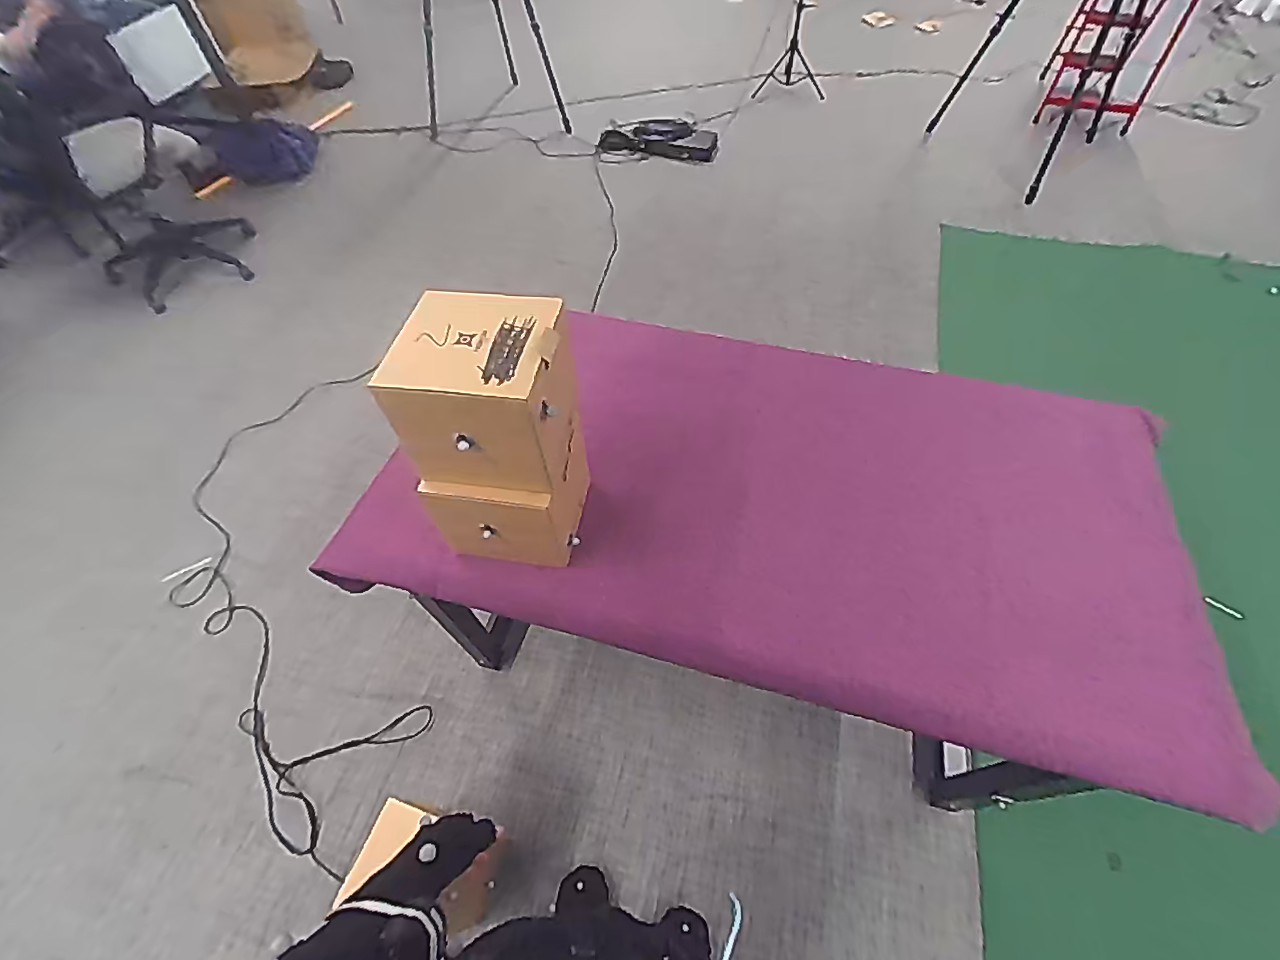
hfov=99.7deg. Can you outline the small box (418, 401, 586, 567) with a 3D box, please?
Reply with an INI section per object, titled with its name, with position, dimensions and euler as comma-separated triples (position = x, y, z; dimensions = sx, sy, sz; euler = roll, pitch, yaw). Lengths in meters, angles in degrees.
[small box]
position = -0.183, 0.011, 0.786
dimensions = 0.179, 0.176, 0.168
euler = 8, 55, 7
